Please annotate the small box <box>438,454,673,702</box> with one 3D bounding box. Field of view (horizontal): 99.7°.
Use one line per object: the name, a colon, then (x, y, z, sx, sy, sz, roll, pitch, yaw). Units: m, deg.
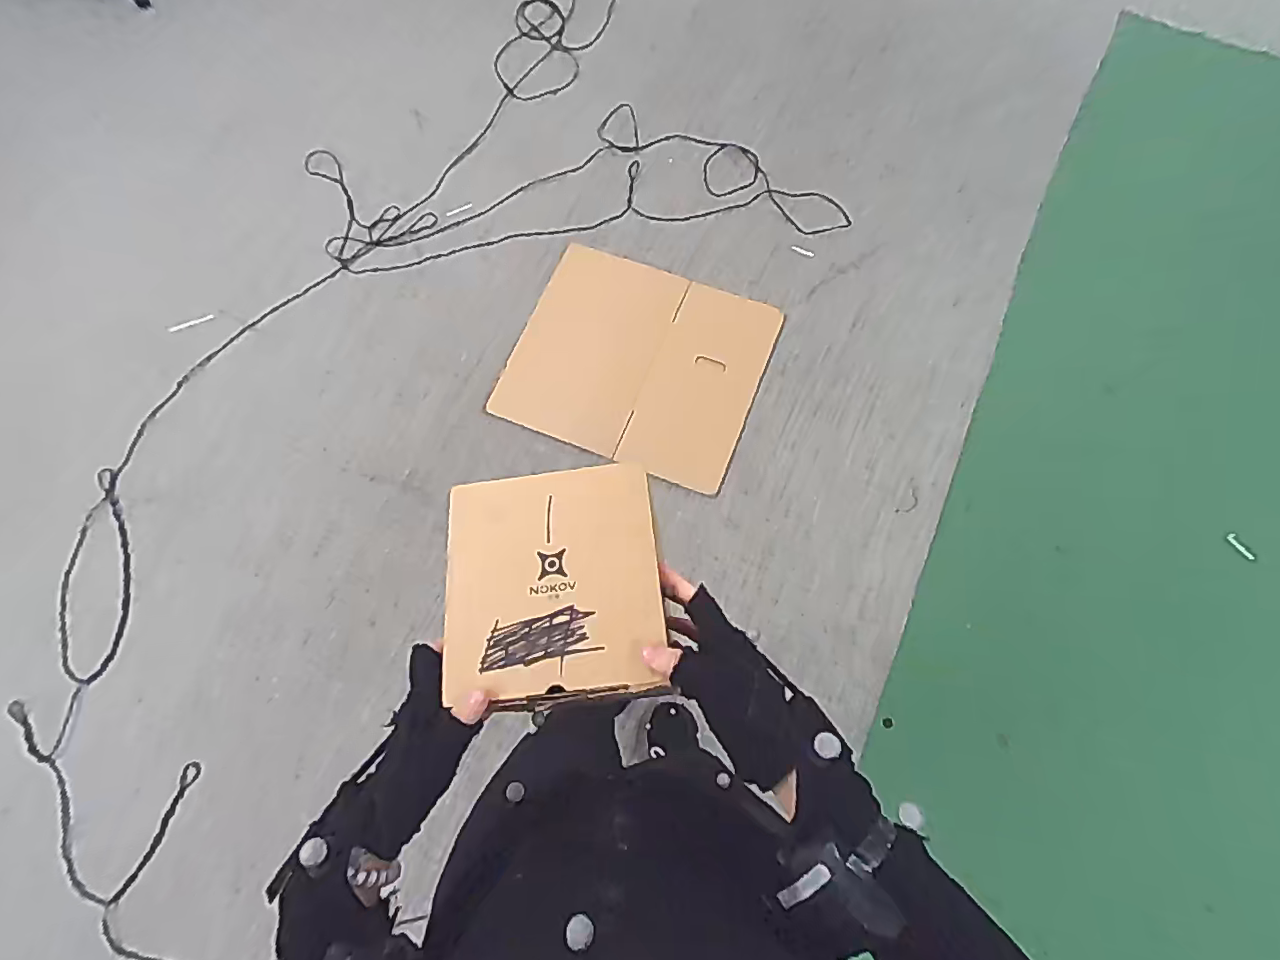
small box: (-0.063, 0.099, 0.486, 0.168, 0.176, 0.179, -8, 66, 3)
